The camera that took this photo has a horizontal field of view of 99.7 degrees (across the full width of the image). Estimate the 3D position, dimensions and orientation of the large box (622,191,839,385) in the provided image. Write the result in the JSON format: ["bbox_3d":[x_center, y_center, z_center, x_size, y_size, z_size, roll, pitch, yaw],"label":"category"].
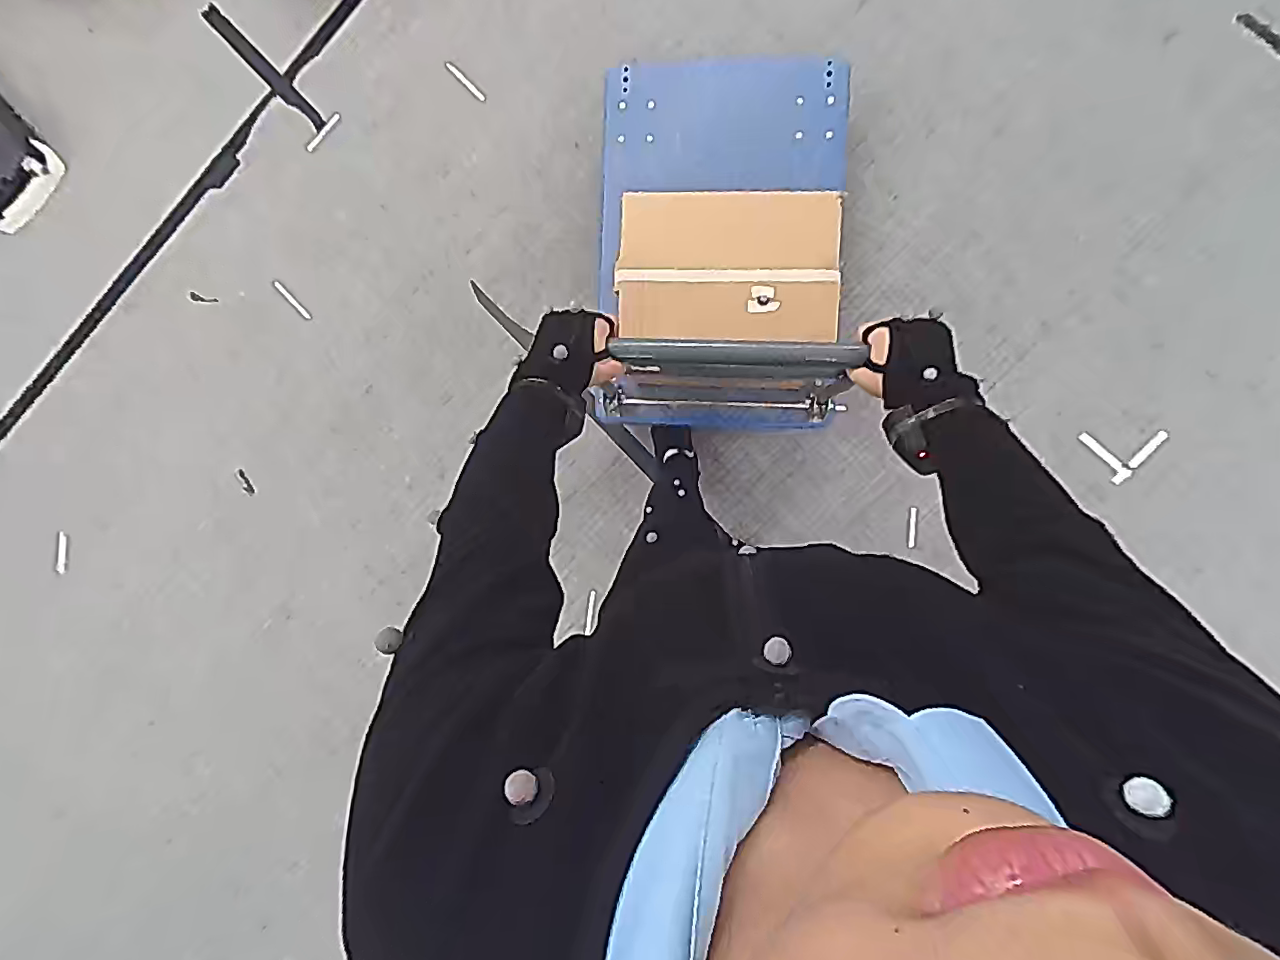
[{"bbox_3d":[0.174,-0.382,1.154,0.408,0.320,0.320,2,92,4],"label":"large box"}]
